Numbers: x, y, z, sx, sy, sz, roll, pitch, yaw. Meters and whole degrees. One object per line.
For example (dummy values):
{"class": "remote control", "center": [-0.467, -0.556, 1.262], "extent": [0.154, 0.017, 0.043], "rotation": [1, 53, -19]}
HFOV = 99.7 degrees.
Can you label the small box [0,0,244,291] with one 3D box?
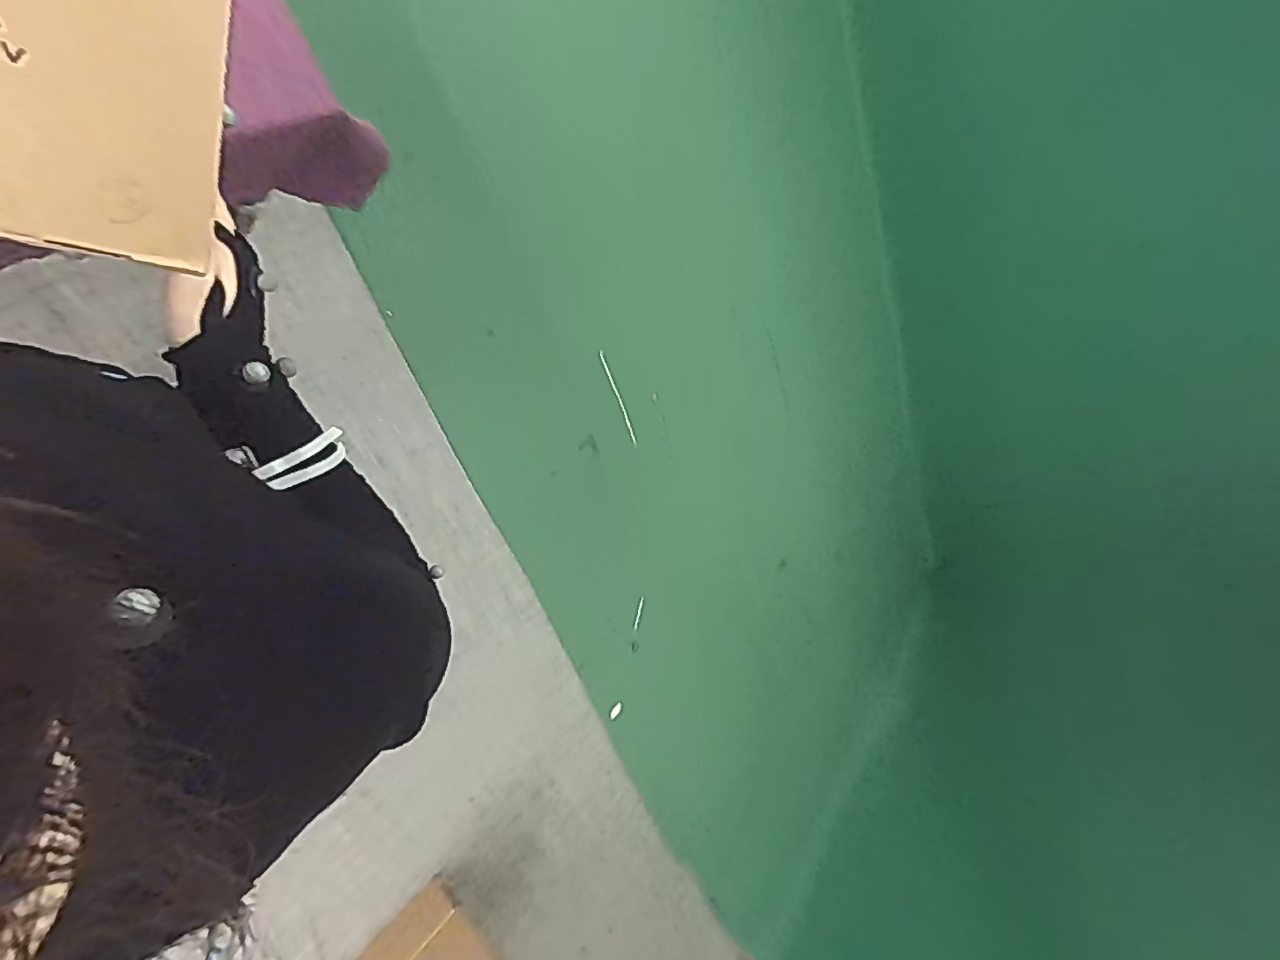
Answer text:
{"class": "small box", "center": [-0.311, -0.213, 0.254], "extent": [0.168, 0.176, 0.179], "rotation": [-1, 116, -50]}
